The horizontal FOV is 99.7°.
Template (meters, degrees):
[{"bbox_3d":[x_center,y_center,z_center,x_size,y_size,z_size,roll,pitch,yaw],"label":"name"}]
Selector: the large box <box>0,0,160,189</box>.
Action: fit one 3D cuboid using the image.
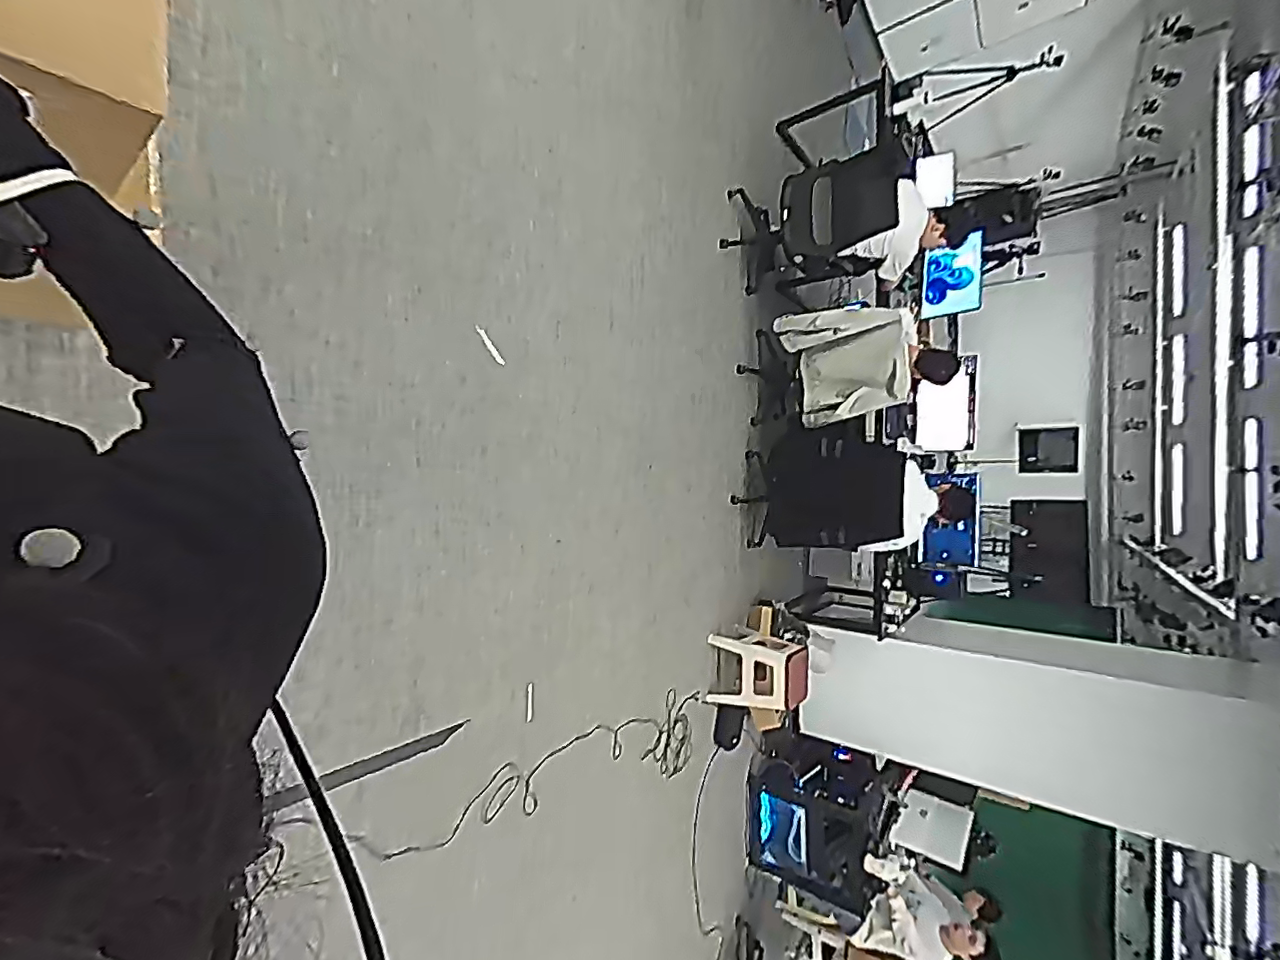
[{"bbox_3d":[-0.690,-0.503,0.427,0.408,0.320,0.320,-2,93,-54],"label":"large box"}]
